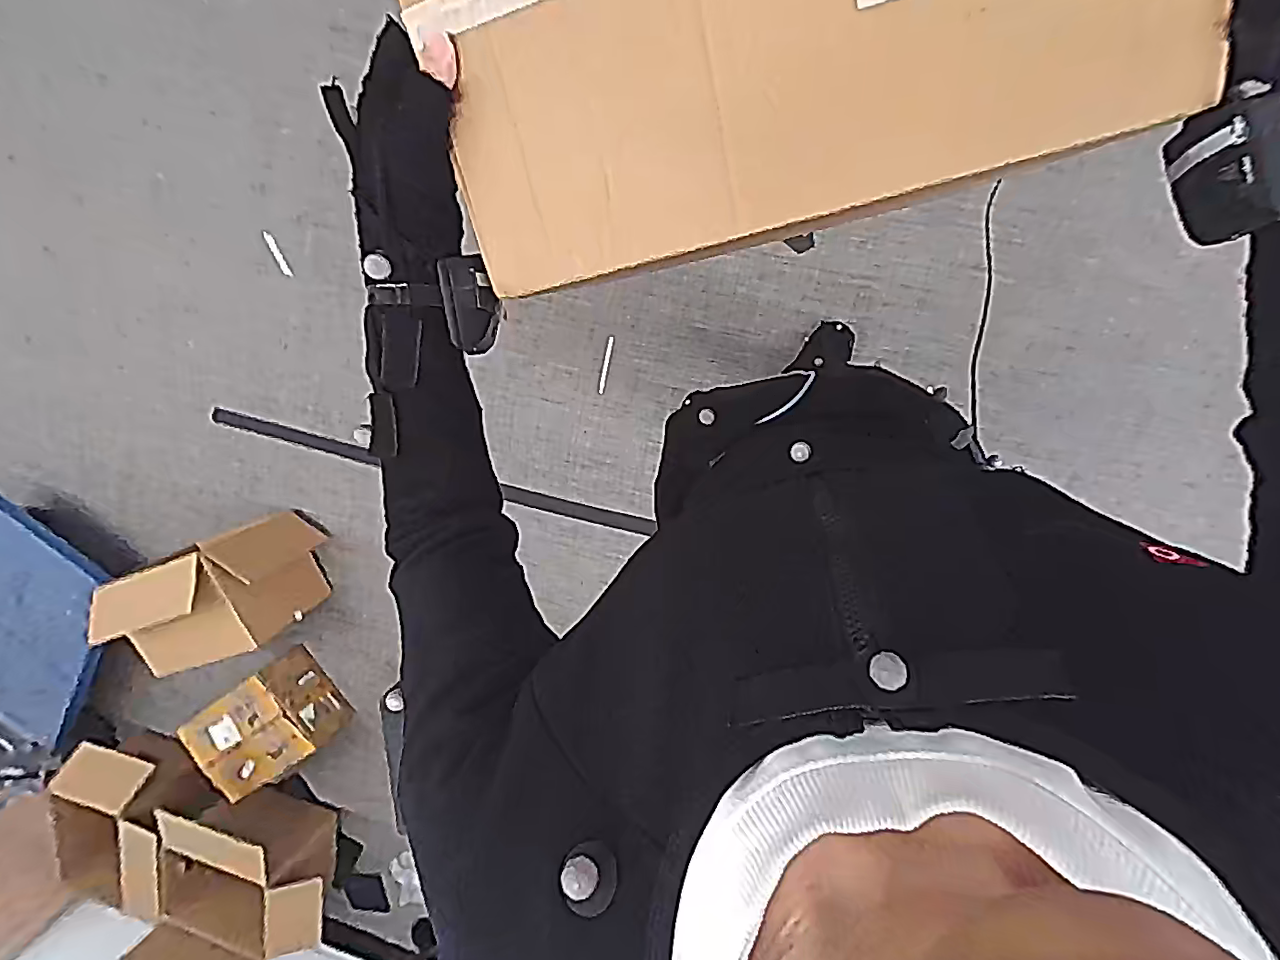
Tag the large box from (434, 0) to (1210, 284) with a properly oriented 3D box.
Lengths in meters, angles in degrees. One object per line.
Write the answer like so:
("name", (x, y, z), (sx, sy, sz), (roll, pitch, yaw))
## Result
("large box", (0.090, -0.362, 0.418), (0.408, 0.320, 0.320), (-10, 110, 13))
